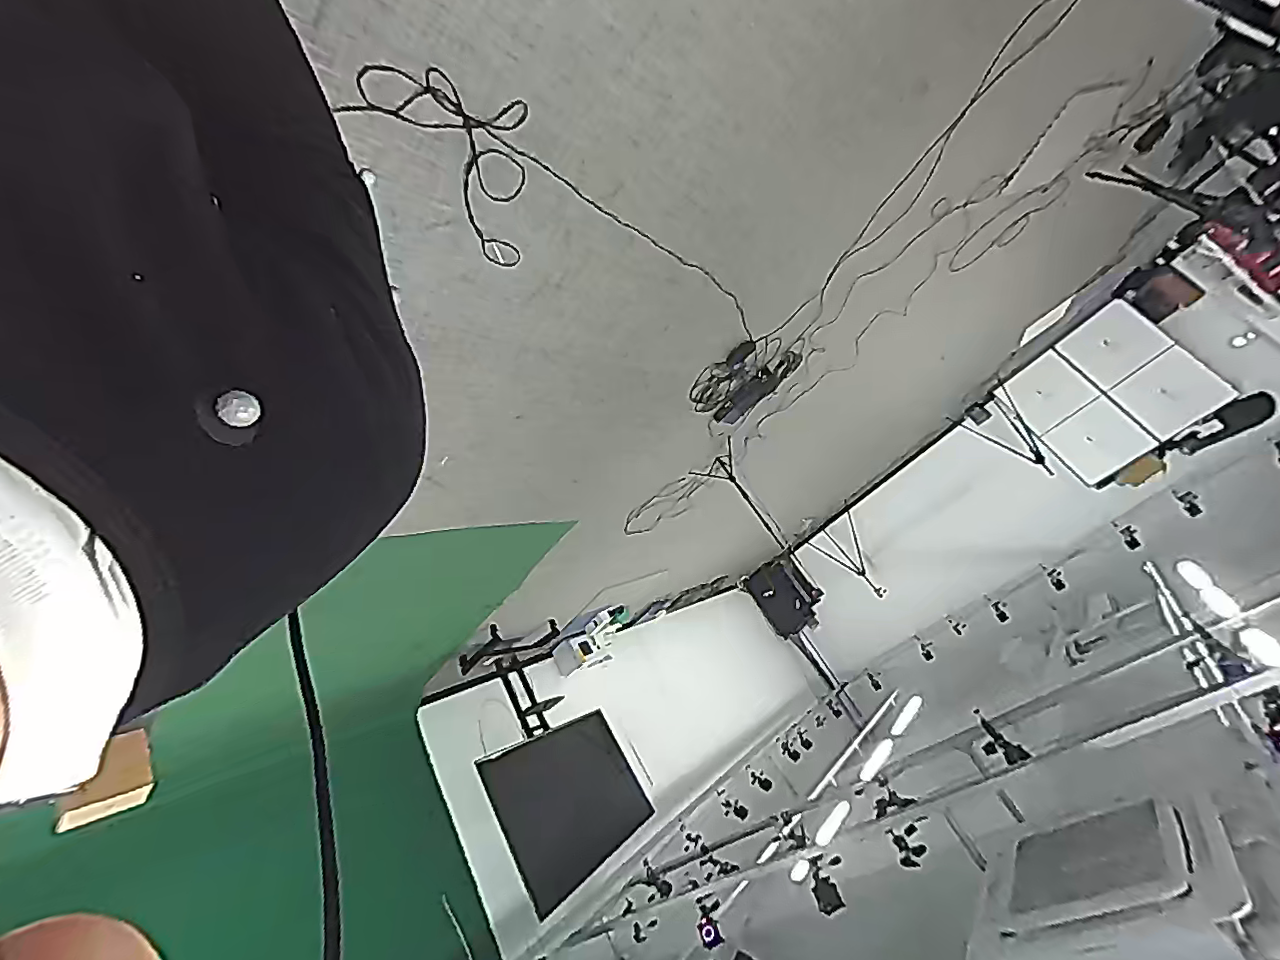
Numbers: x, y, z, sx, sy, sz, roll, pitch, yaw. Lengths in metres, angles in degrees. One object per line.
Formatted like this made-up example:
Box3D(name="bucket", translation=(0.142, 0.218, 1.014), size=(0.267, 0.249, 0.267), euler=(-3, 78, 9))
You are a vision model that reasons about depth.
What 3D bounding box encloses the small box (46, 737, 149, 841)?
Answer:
Box3D(name="small box", translation=(-1.510, 0.849, 1.501), size=(0.168, 0.176, 0.179), euler=(-43, 156, 27))
